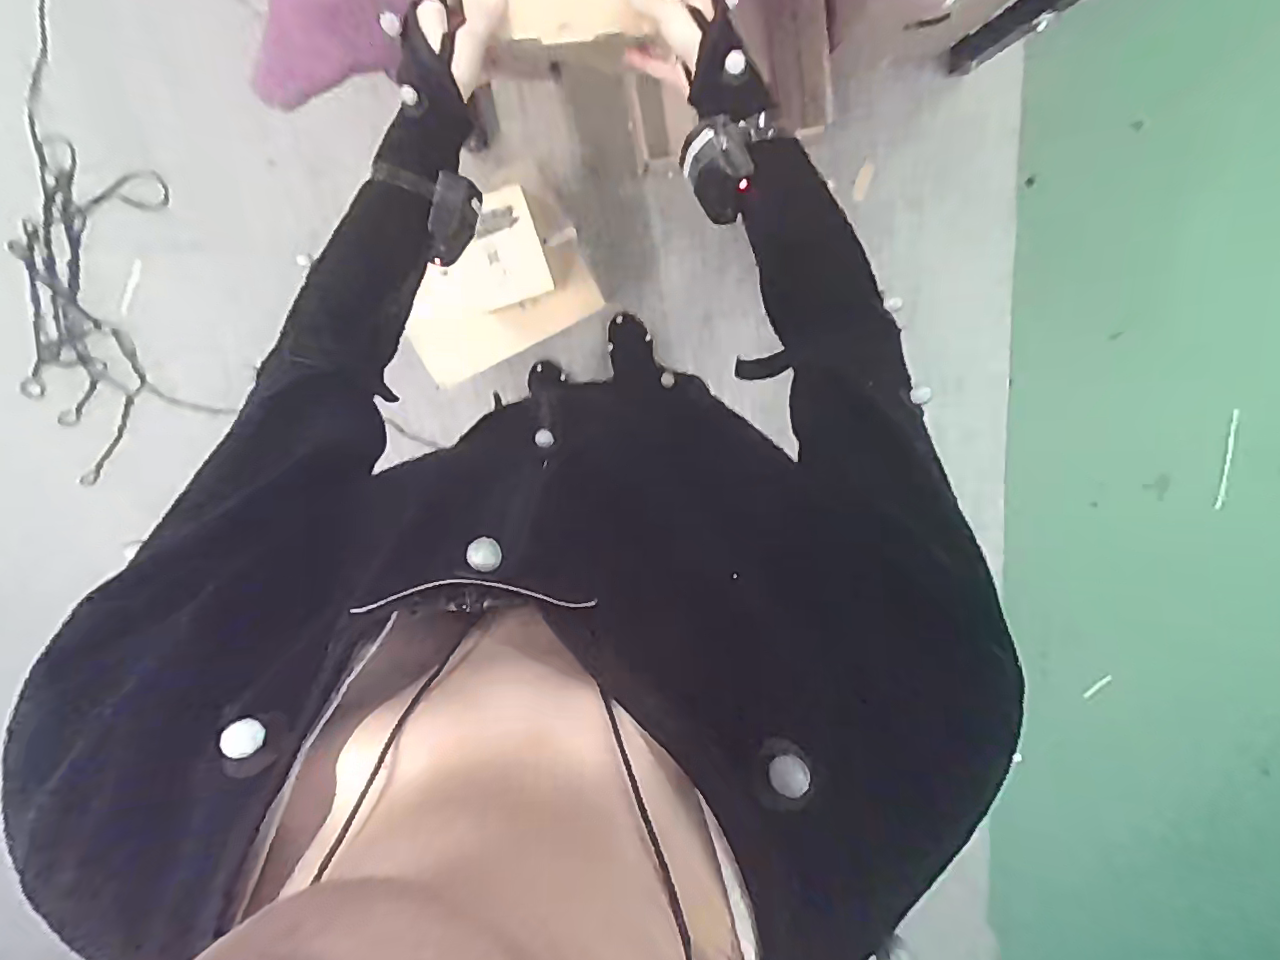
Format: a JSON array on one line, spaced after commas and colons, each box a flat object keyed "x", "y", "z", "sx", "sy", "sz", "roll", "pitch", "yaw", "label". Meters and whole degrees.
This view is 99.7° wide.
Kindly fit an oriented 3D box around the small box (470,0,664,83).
[{"x": -0.074, "y": -0.492, "z": 0.497, "sx": 0.168, "sy": 0.176, "sz": 0.179, "roll": -7, "pitch": 118, "yaw": -4, "label": "small box"}]
